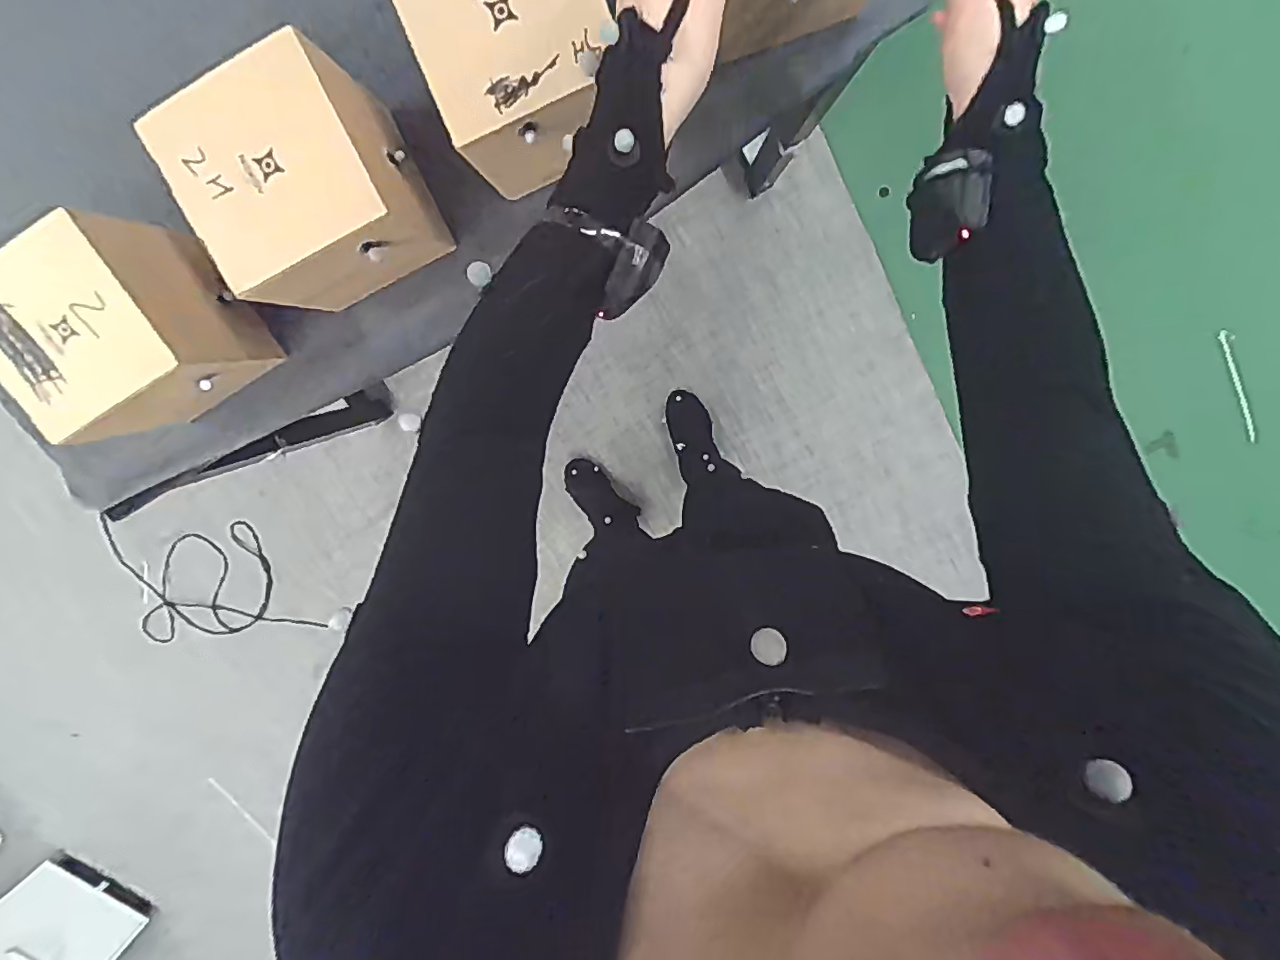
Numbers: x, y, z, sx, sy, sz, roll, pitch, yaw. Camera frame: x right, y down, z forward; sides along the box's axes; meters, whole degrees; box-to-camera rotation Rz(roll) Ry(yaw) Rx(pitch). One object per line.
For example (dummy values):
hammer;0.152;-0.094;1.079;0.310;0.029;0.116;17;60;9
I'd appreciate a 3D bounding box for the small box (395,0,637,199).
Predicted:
small box;-0.111;-0.410;0.523;0.168;0.176;0.179;-20;100;9

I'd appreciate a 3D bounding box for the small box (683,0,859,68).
small box;0.122;-0.521;0.481;0.179;0.176;0.168;-15;100;7

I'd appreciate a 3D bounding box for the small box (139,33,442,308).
small box;-0.332;-0.295;0.562;0.179;0.176;0.168;-23;101;8
